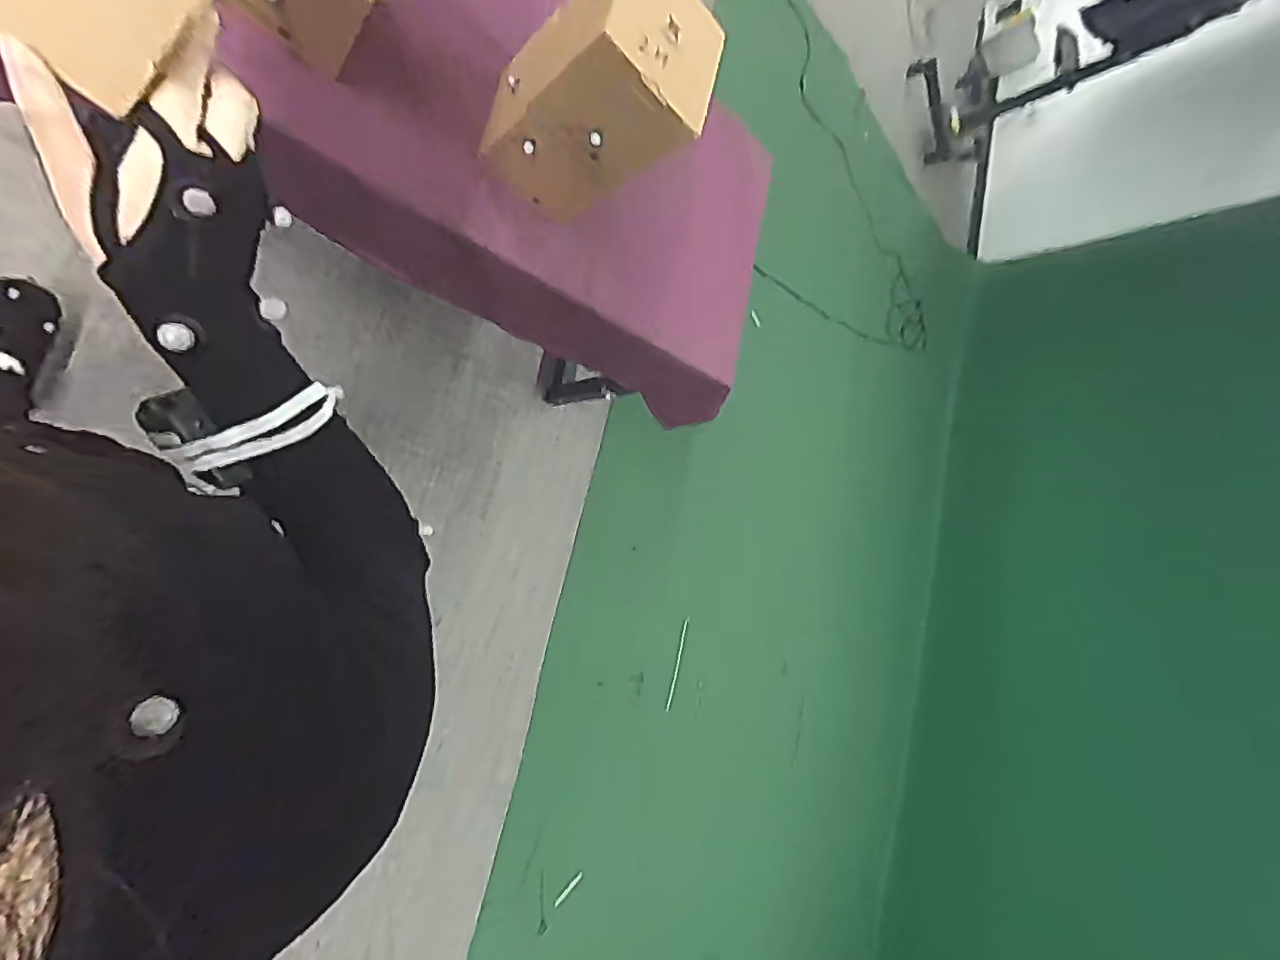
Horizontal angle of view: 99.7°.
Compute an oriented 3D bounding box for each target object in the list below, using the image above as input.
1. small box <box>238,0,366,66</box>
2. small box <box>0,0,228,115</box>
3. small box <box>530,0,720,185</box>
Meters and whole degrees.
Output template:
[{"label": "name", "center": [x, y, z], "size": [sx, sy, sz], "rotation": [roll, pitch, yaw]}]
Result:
[{"label": "small box", "center": [-0.385, -0.628, 0.606], "size": [0.168, 0.176, 0.179], "rotation": [22, 77, -42]}, {"label": "small box", "center": [-0.276, -0.314, 0.242], "size": [0.168, 0.176, 0.179], "rotation": [-45, 139, 6]}, {"label": "small box", "center": [-0.022, -0.542, 0.719], "size": [0.168, 0.176, 0.179], "rotation": [24, 75, -40]}]
